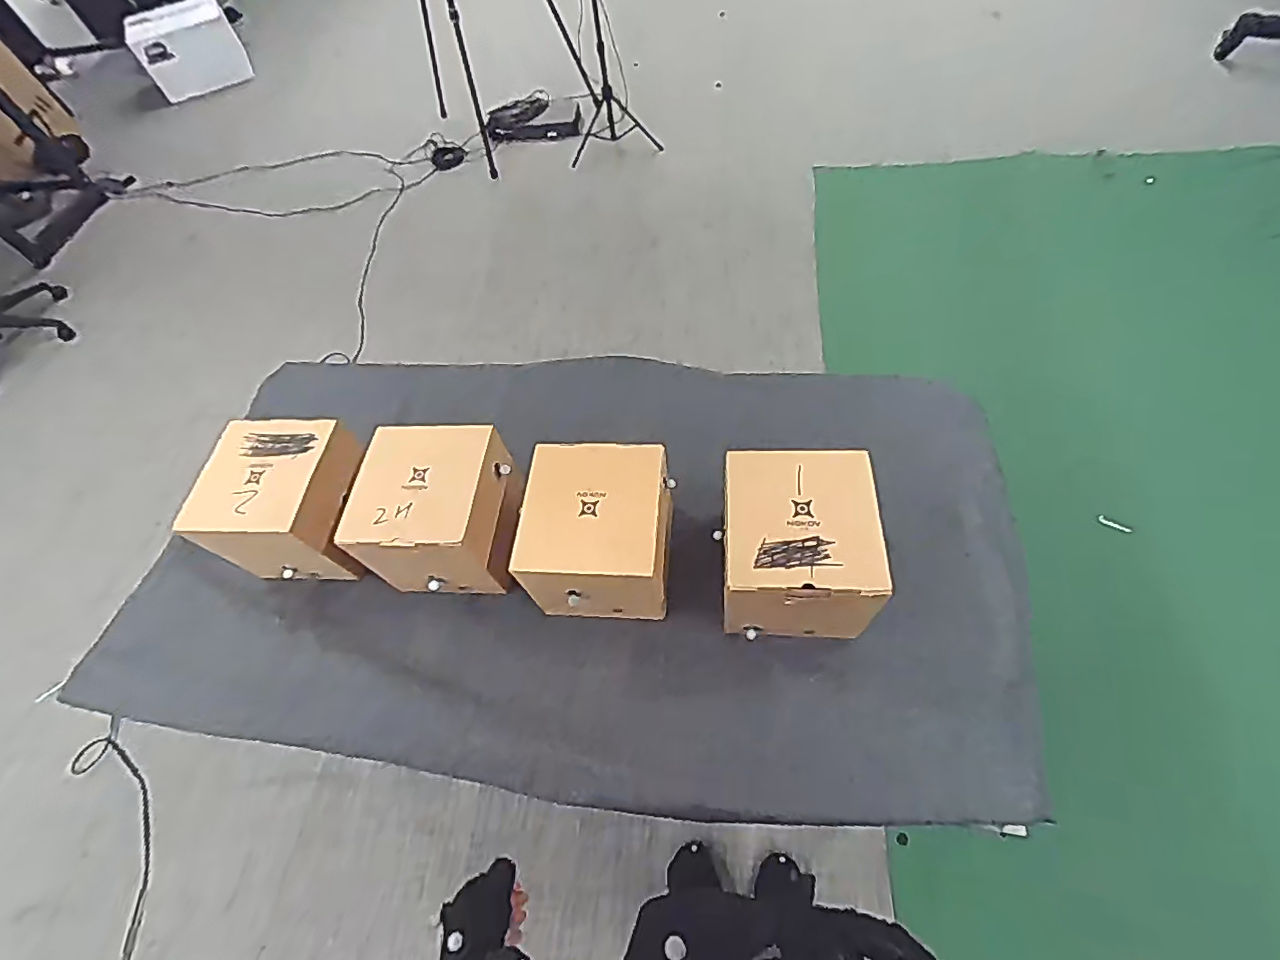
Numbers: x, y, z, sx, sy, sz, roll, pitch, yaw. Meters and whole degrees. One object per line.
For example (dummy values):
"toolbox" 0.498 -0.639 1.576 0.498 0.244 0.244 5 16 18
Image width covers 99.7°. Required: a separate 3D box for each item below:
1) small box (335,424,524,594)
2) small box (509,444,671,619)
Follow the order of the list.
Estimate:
"small box" -0.267 0.042 0.741 0.168 0.176 0.179 0 59 8
"small box" -0.049 0.071 0.697 0.168 0.176 0.179 1 58 8
